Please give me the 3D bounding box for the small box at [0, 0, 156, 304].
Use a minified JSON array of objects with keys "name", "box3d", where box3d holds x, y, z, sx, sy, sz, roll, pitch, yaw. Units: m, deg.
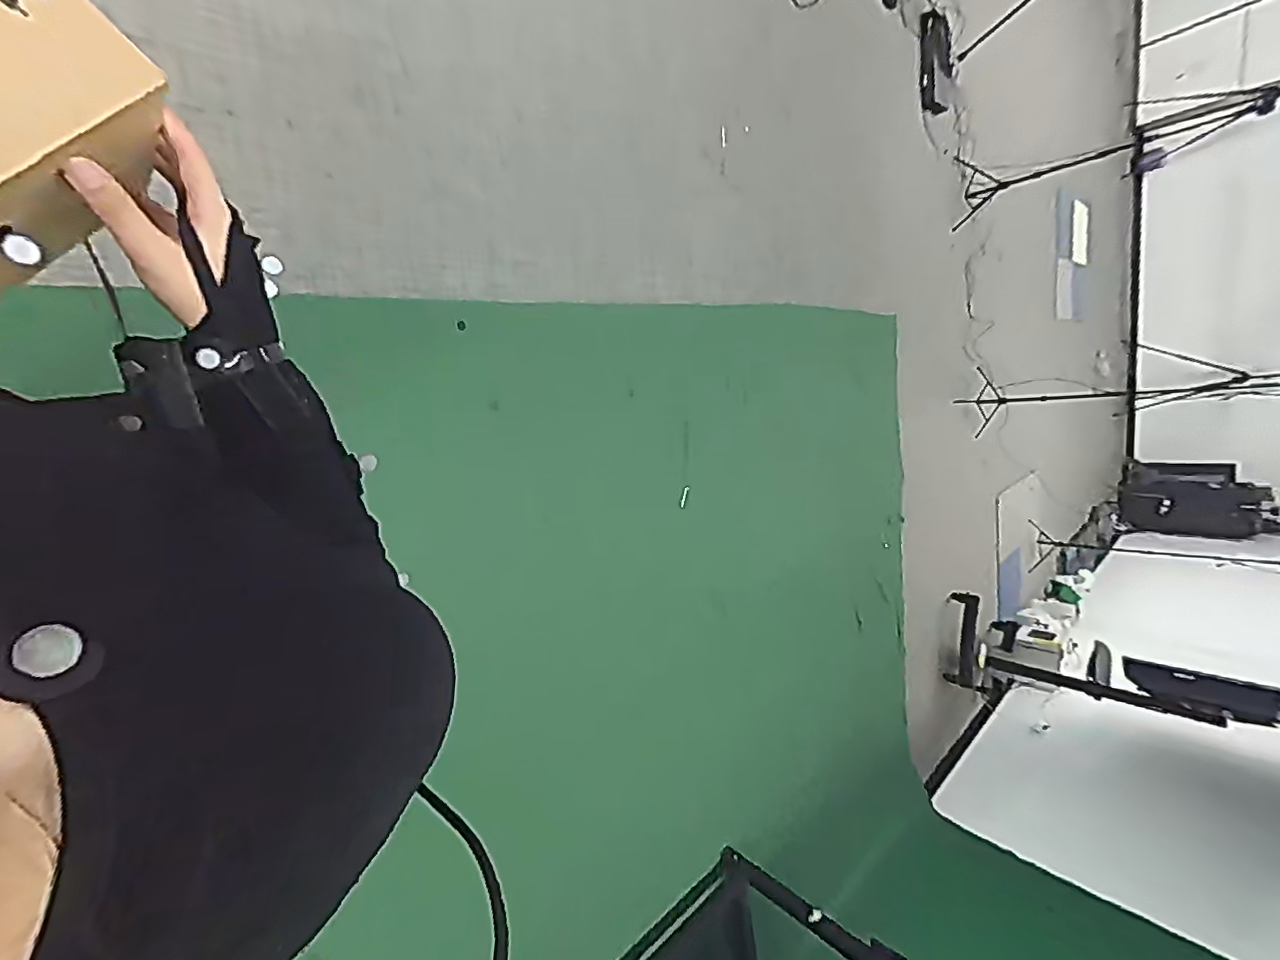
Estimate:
[{"name":"small box","box3d":[-0.389,-0.189,0.262,0.168,0.176,0.179,47,61,-35]}]
